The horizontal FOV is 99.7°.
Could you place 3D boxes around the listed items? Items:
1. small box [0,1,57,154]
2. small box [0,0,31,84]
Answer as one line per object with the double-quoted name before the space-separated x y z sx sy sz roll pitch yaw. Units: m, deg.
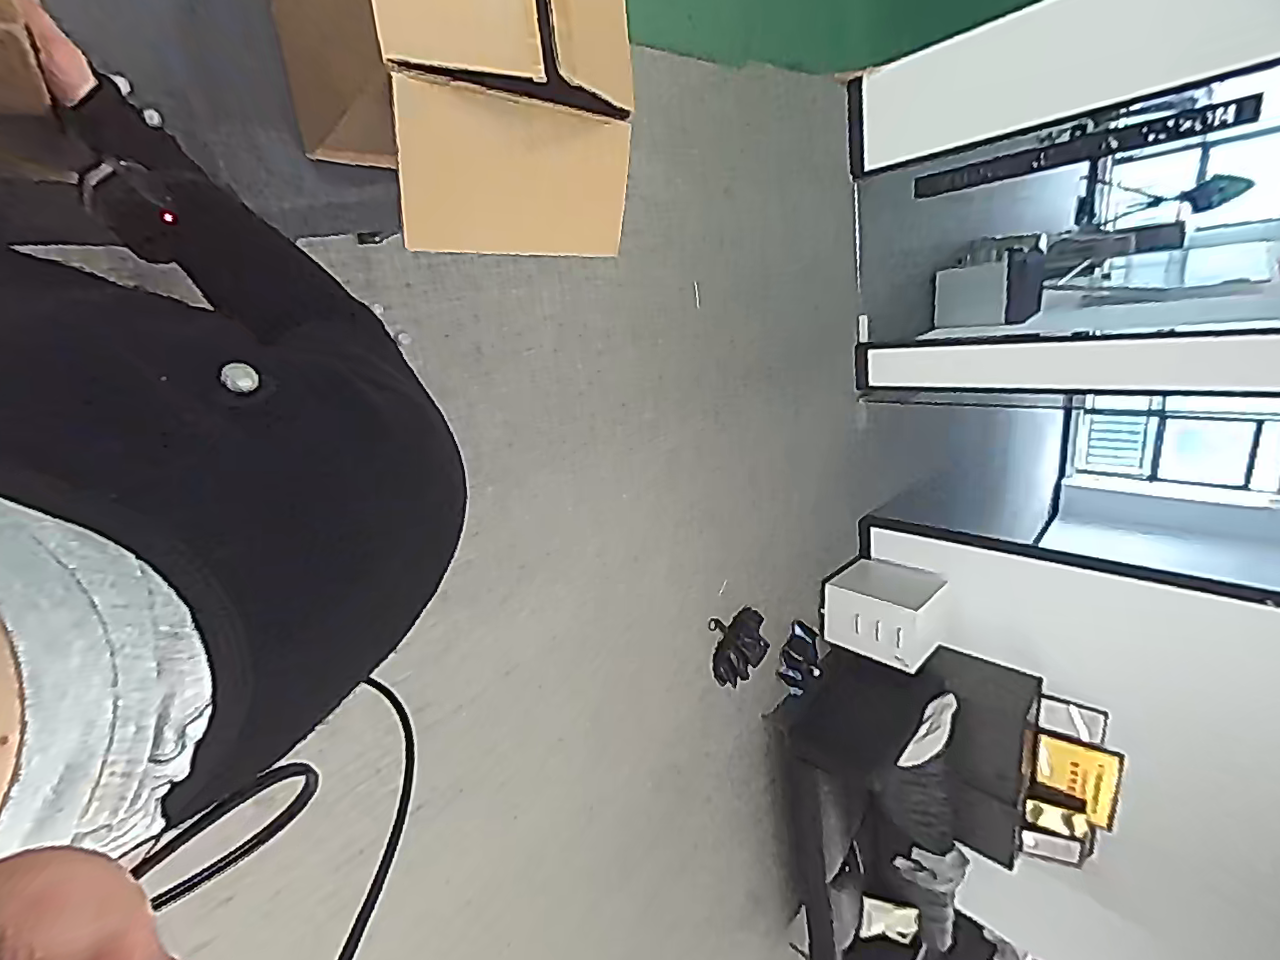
"small box" -0.484 -0.310 0.308 0.168 0.176 0.179 -19 111 -39
"small box" -0.372 -0.284 0.191 0.168 0.176 0.179 -18 112 -38
